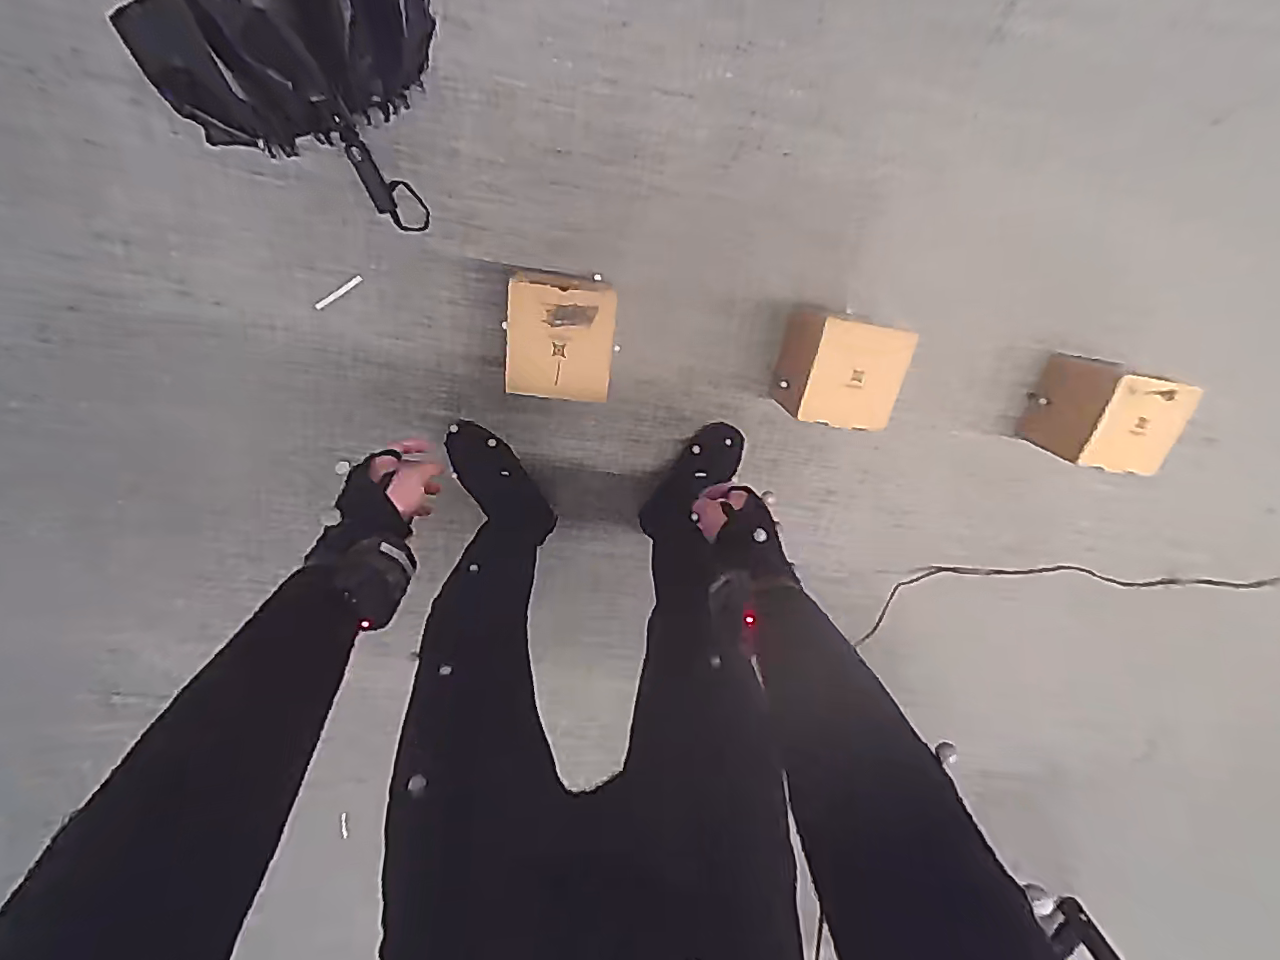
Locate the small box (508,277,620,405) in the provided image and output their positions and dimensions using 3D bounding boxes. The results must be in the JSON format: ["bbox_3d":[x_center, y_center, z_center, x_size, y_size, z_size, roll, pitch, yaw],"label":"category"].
[{"bbox_3d":[-0.128,-0.243,0.925,0.168,0.176,0.179,5,114,-6],"label":"small box"}]

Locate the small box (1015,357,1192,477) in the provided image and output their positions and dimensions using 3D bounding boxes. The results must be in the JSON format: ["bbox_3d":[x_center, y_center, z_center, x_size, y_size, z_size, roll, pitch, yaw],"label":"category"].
[{"bbox_3d":[0.888,-0.128,1.062,0.168,0.176,0.179,8,113,-8],"label":"small box"}]

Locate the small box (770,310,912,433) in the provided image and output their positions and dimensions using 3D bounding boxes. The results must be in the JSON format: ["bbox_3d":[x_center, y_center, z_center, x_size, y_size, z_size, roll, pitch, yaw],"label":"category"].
[{"bbox_3d":[0.352,-0.202,0.988,0.168,0.176,0.179,6,112,-9],"label":"small box"}]
